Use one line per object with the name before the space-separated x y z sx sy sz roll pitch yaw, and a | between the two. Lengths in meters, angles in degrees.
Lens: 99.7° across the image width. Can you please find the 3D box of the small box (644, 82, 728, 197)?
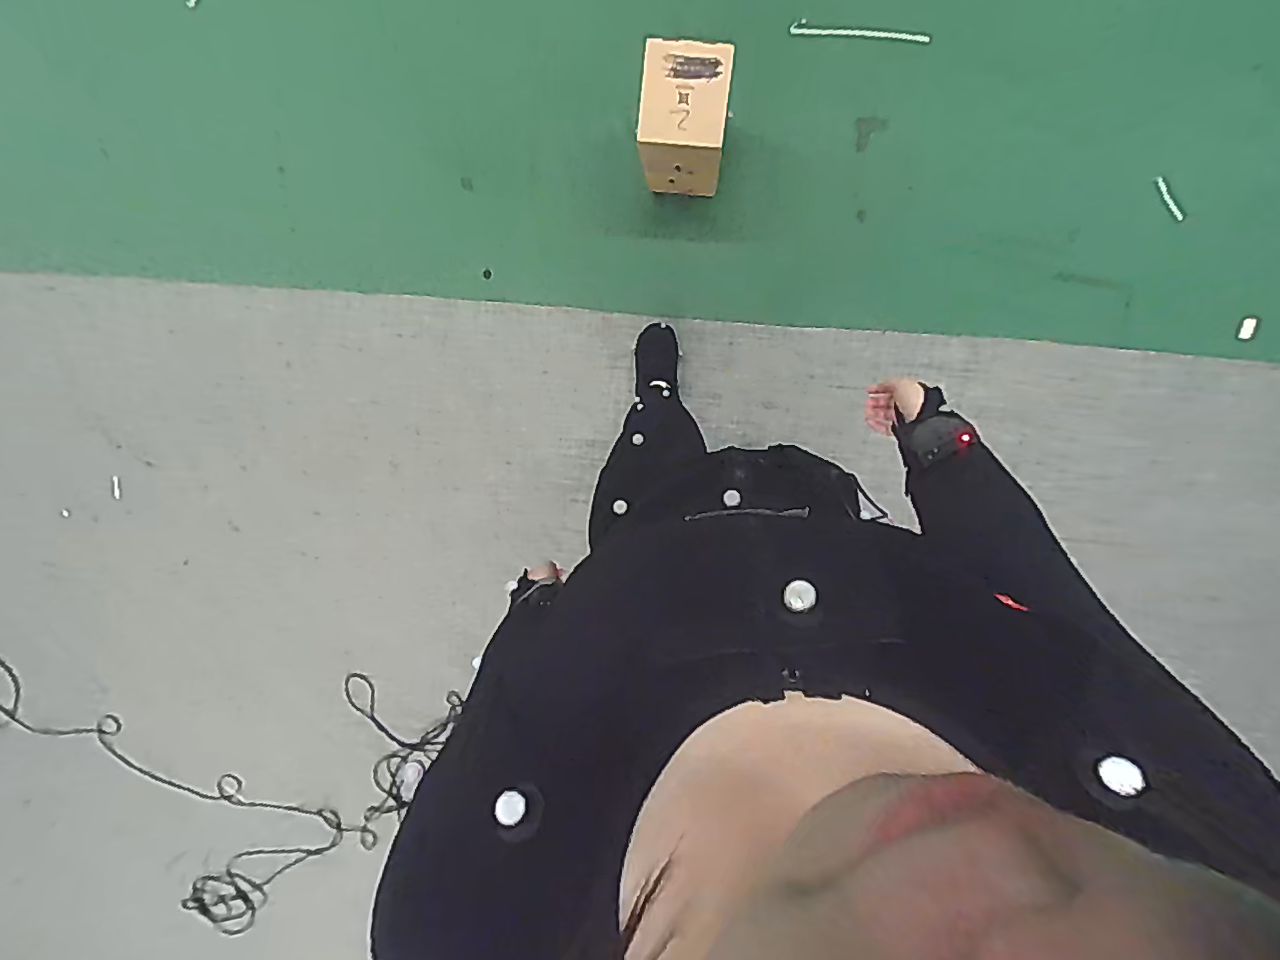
small box | 0.106 -0.771 1.242 0.168 0.176 0.179 7 102 4
